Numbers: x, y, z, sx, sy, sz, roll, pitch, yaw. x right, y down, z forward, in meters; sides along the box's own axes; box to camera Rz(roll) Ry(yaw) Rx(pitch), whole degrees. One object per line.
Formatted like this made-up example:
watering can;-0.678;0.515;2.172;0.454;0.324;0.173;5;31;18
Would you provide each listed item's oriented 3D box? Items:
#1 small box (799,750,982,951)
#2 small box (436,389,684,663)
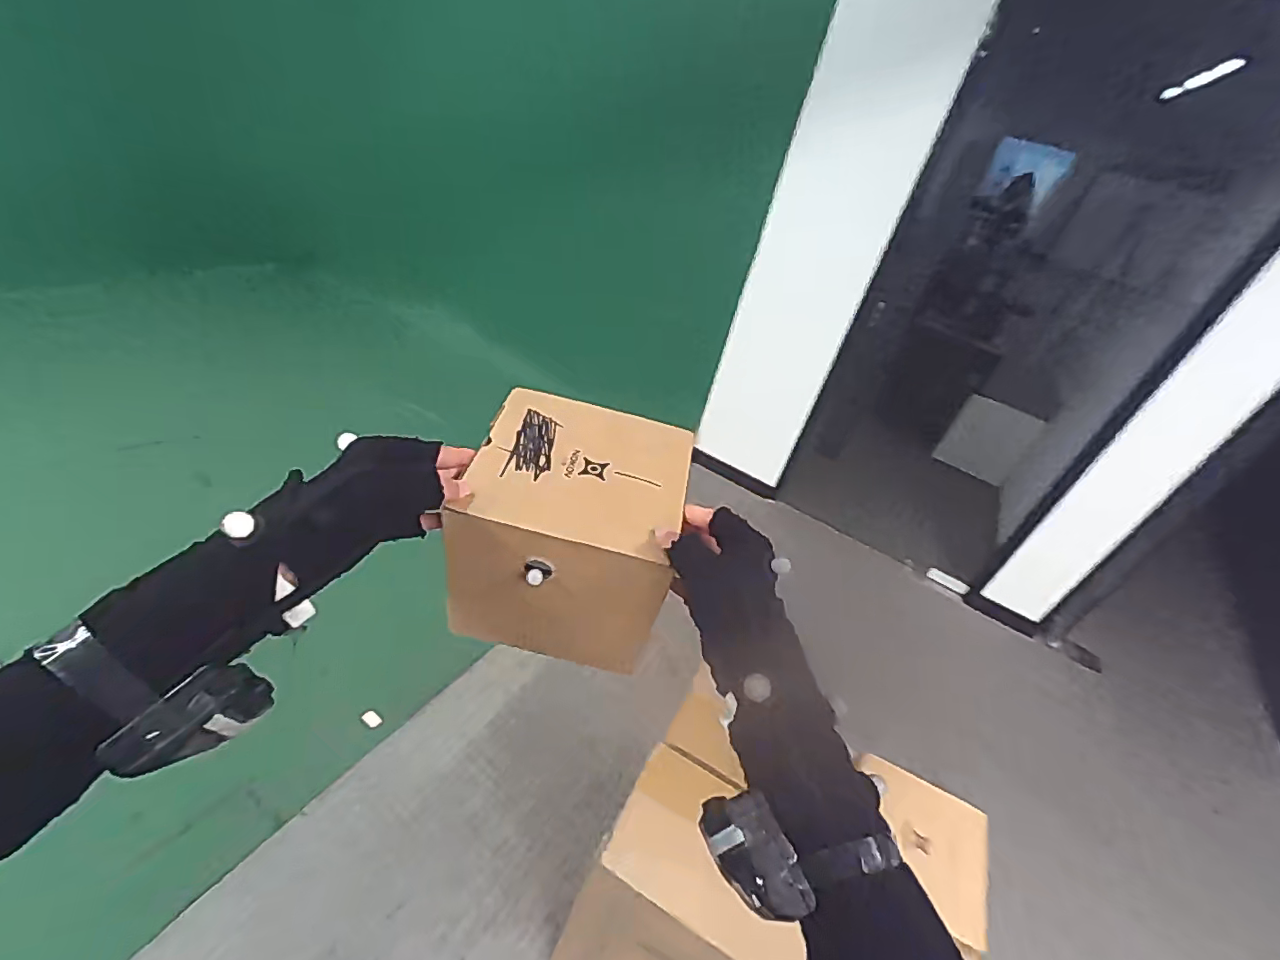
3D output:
small box;0.348;0.528;0.766;0.179;0.176;0.168;25;47;11
small box;-0.069;0.045;0.503;0.179;0.176;0.168;15;42;-2
